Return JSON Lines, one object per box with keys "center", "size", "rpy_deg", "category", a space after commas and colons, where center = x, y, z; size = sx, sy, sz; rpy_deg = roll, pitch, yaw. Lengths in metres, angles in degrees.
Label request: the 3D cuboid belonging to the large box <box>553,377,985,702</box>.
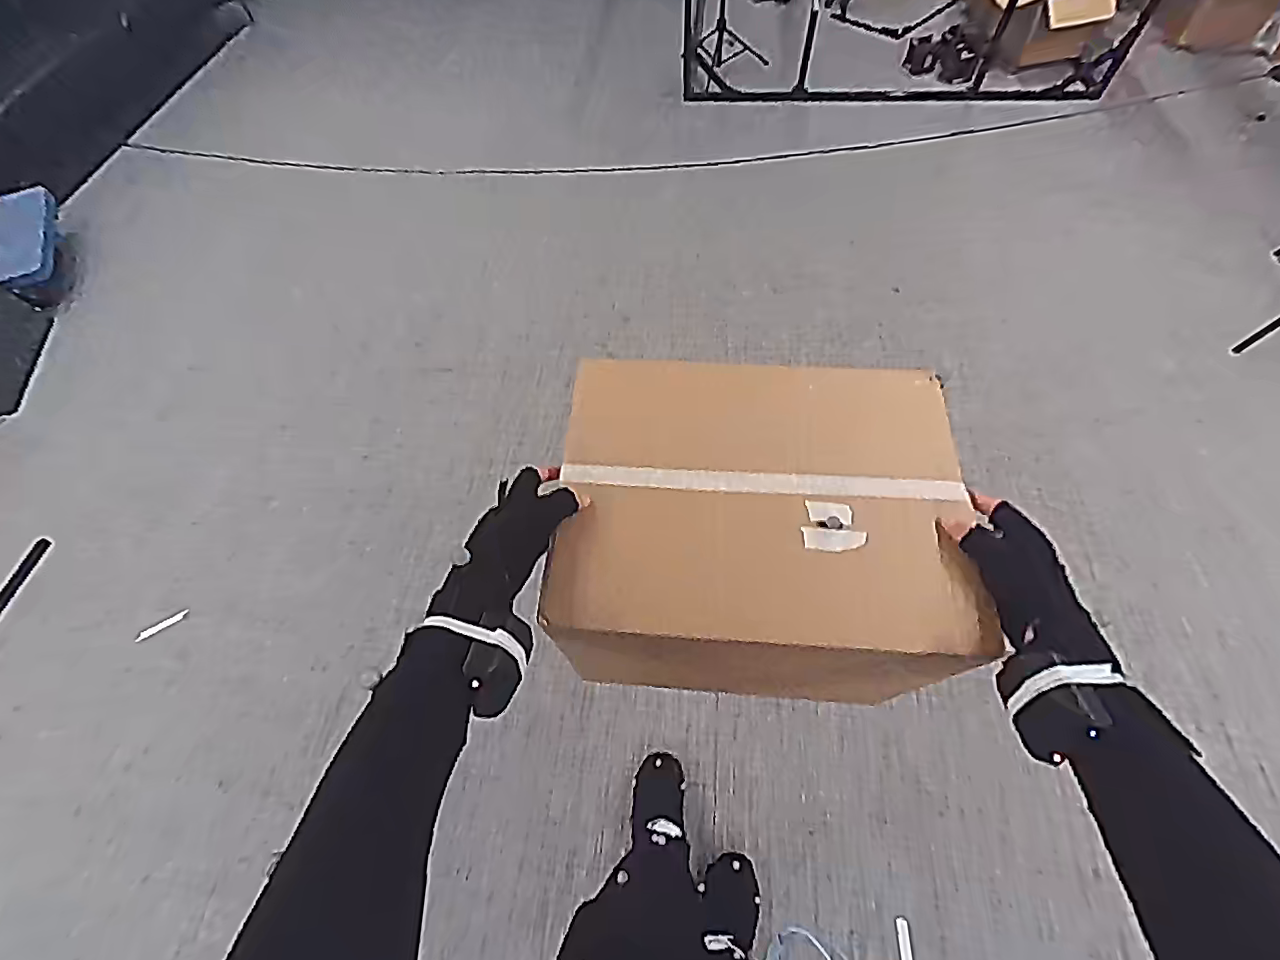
{"center": [0.126, 0.090, 0.696], "size": [0.408, 0.320, 0.320], "rpy_deg": [3, 61, 3], "category": "large box"}
